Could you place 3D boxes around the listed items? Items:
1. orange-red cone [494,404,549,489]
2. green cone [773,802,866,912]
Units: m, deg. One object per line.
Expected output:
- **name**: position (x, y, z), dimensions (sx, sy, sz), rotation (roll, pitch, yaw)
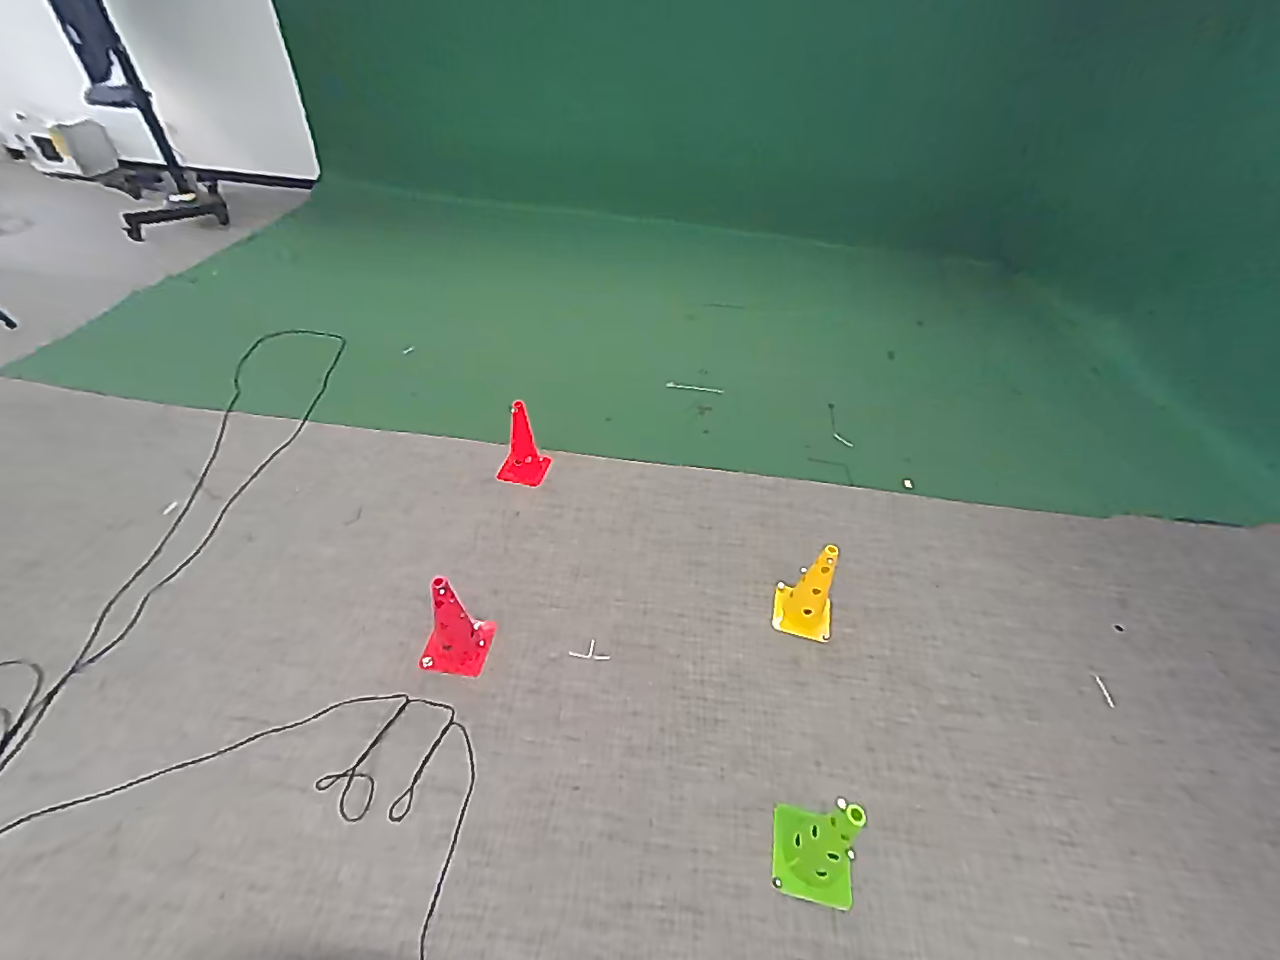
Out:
- **orange-red cone**: position (-0.515, -0.161, 2.280), dimensions (0.199, 0.360, 0.198), rotation (11, 42, 8)
- **green cone**: position (0.463, 0.863, 1.298), dimensions (0.200, 0.368, 0.202), rotation (11, 42, 5)
